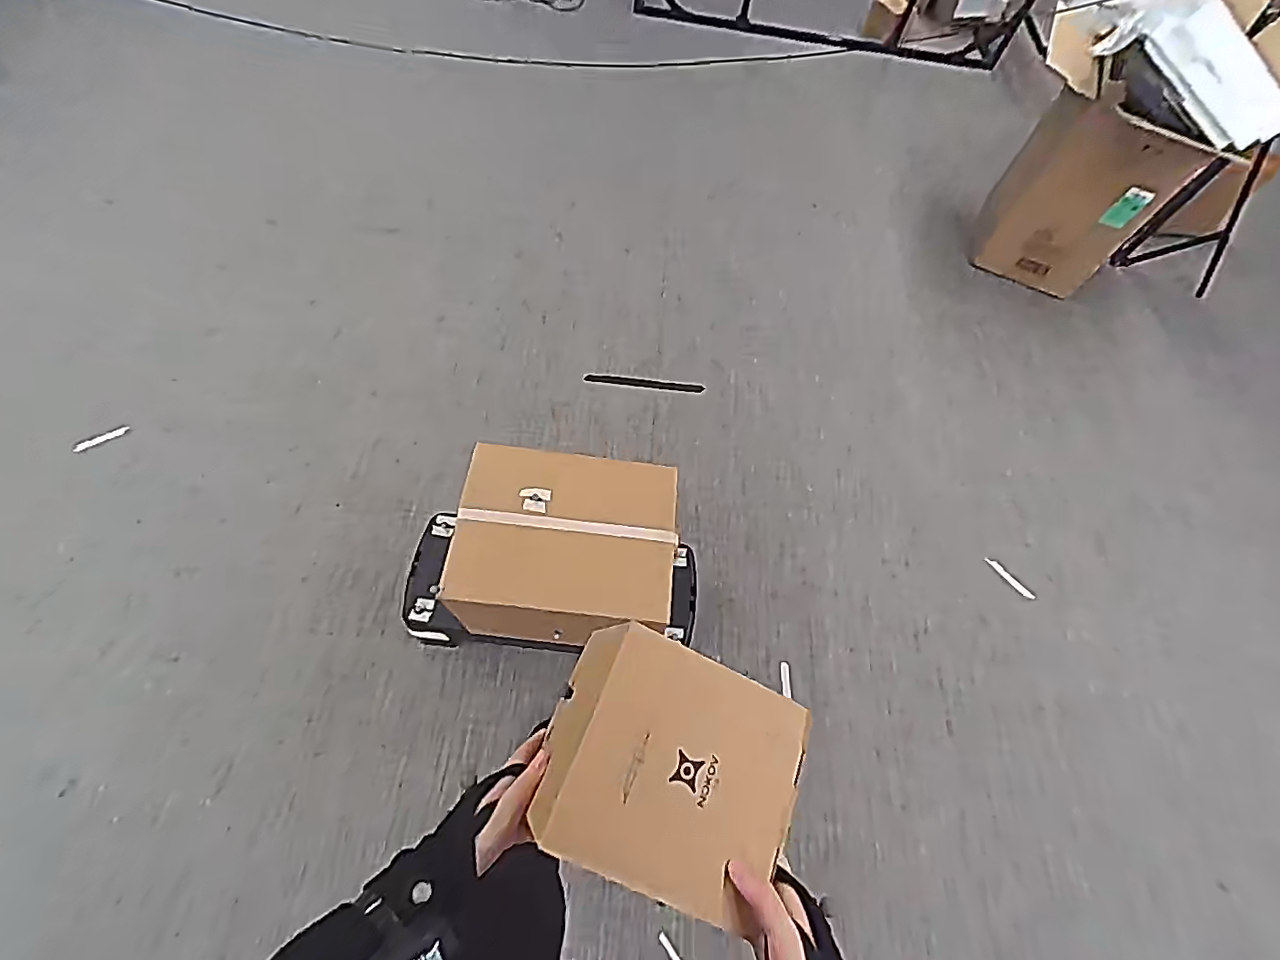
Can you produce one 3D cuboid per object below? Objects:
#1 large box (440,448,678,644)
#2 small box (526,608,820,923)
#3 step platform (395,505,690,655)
[{"bbox_3d":[-0.142,0.158,1.122,0.408,0.320,0.320,6,62,-2],"label":"large box"},{"bbox_3d":[0.019,0.230,0.475,0.179,0.176,0.168,29,65,-6],"label":"small box"},{"bbox_3d":[-0.220,0.276,1.322,0.684,0.204,0.286,12,62,1],"label":"step platform"}]
